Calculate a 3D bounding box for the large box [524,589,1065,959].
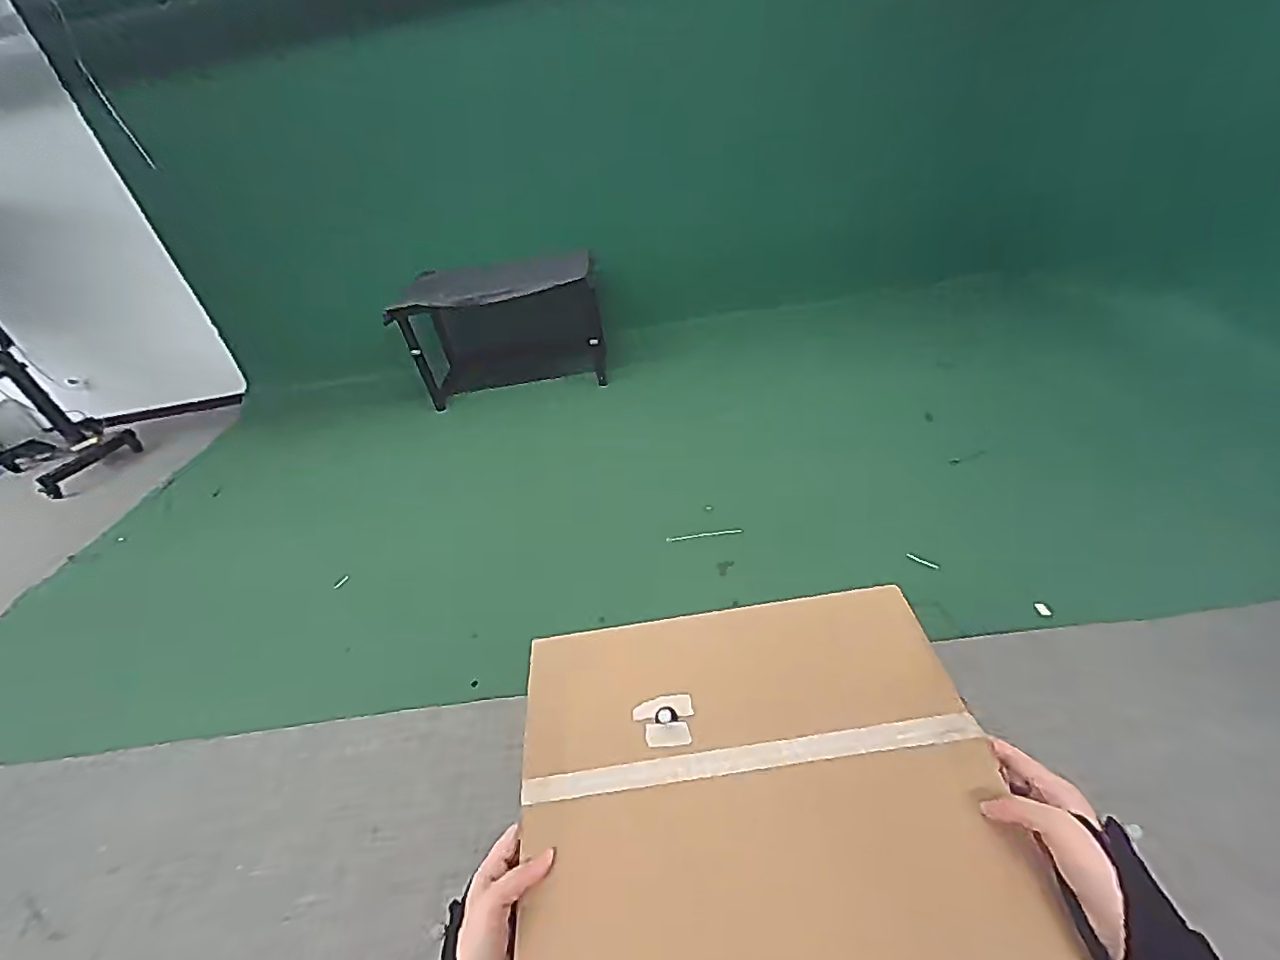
[{"bbox_3d":[0.119,0.365,0.596,0.408,0.320,0.320,-11,43,3],"label":"large box"}]
